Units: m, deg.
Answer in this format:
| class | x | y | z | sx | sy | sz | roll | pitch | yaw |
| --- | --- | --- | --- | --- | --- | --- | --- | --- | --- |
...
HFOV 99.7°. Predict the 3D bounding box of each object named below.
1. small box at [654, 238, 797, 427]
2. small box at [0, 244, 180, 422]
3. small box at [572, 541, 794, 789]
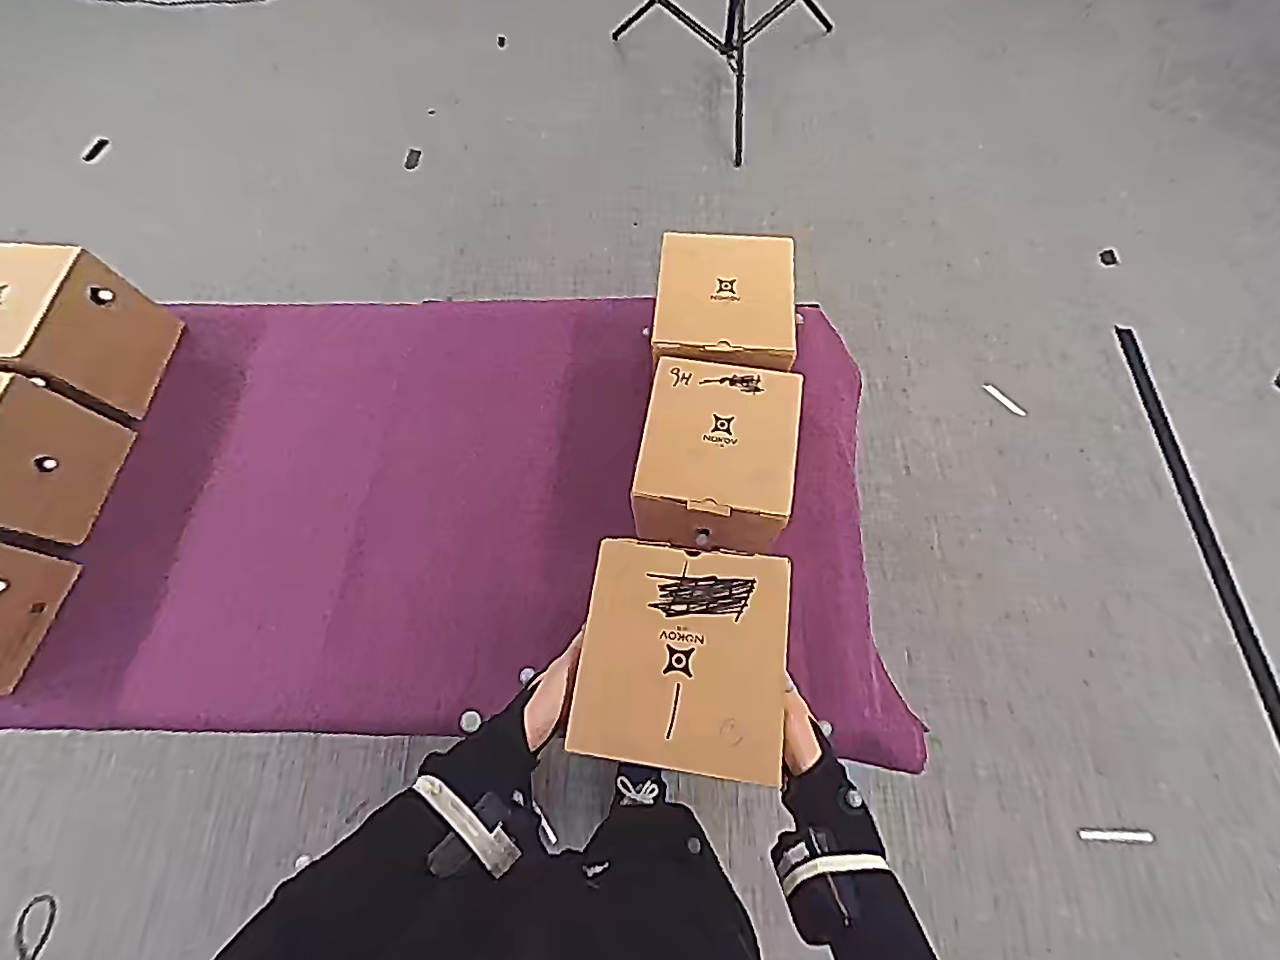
| class | x | y | z | sx | sy | sz | roll | pitch | yaw |
| --- | --- | --- | --- | --- | --- | --- | --- | --- | --- |
| small box | 0.107 | -0.192 | 0.728 | 0.168 | 0.176 | 0.179 | 4 | 68 | 3 |
| small box | -0.811 | -0.201 | 0.761 | 0.168 | 0.176 | 0.179 | 4 | 69 | 4 |
| small box | 0.047 | 0.174 | 0.514 | 0.168 | 0.176 | 0.179 | 5 | 66 | 10 |
